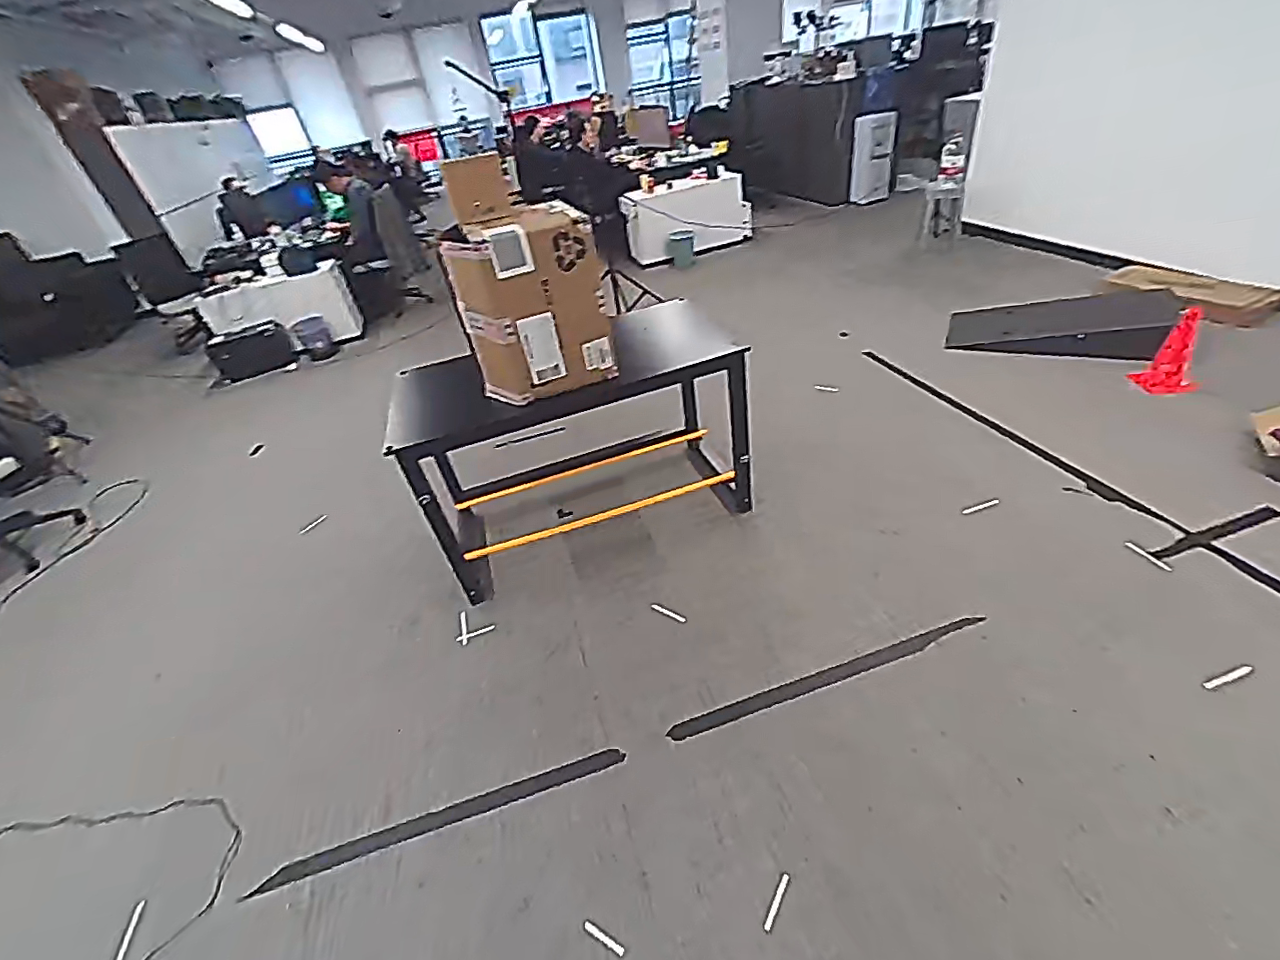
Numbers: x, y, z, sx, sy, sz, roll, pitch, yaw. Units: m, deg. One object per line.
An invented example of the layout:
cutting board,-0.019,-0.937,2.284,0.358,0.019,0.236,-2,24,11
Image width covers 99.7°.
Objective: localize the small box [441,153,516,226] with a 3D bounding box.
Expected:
small box,-0.490,-0.882,1.642,0.168,0.176,0.179,-20,36,-13
